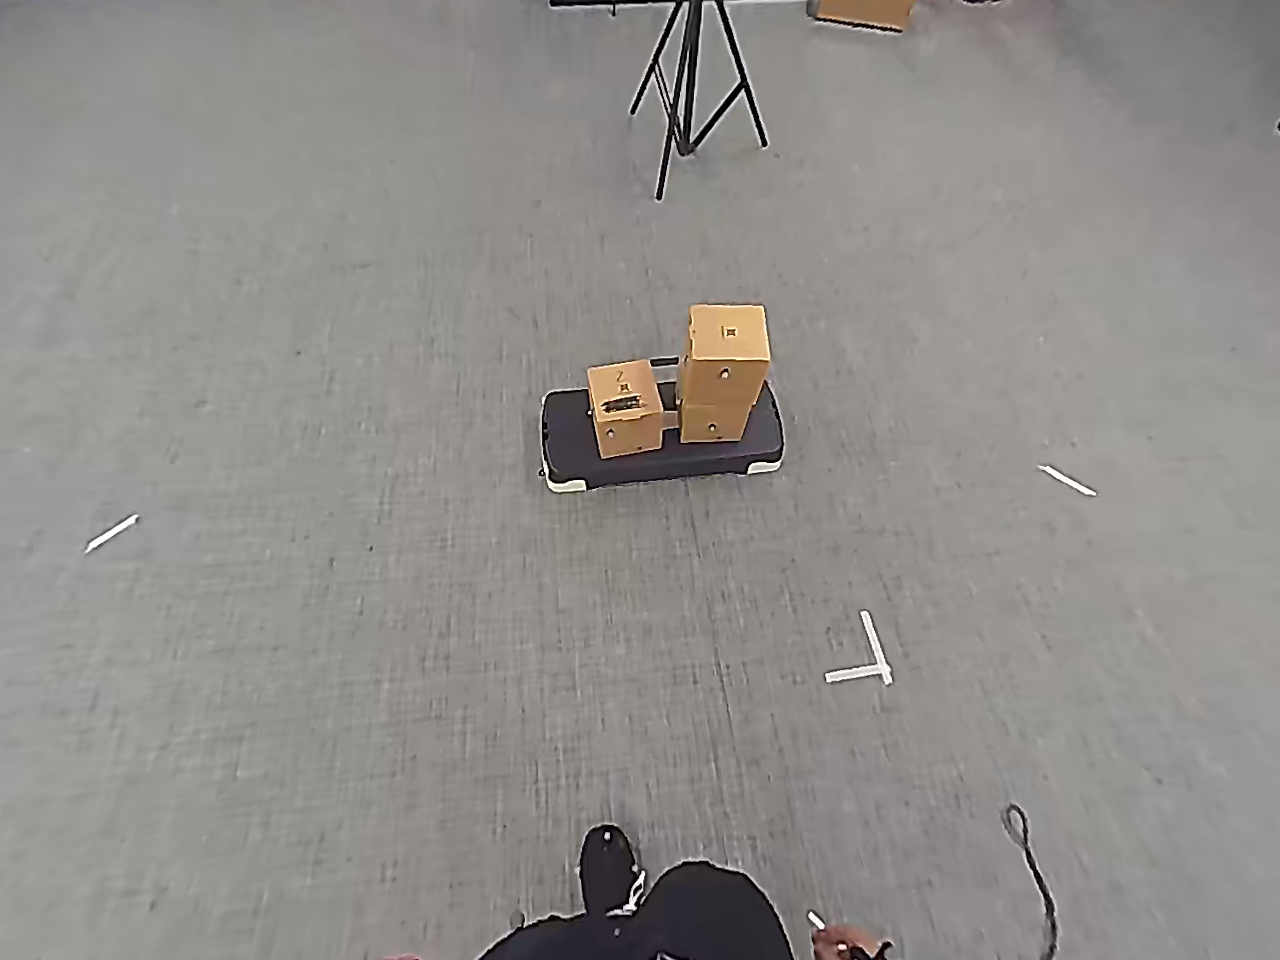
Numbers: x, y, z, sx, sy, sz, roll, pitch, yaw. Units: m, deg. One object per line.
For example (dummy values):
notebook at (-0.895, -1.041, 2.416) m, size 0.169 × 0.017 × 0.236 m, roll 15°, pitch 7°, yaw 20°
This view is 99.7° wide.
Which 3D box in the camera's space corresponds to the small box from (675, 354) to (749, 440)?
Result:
small box at (0.184, -0.215, 1.432) m, size 0.168 × 0.176 × 0.179 m, roll -2°, pitch 62°, yaw -2°

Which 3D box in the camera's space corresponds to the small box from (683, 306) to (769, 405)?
small box at (0.197, -0.293, 1.289) m, size 0.179 × 0.176 × 0.168 m, roll 0°, pitch 62°, yaw 0°
